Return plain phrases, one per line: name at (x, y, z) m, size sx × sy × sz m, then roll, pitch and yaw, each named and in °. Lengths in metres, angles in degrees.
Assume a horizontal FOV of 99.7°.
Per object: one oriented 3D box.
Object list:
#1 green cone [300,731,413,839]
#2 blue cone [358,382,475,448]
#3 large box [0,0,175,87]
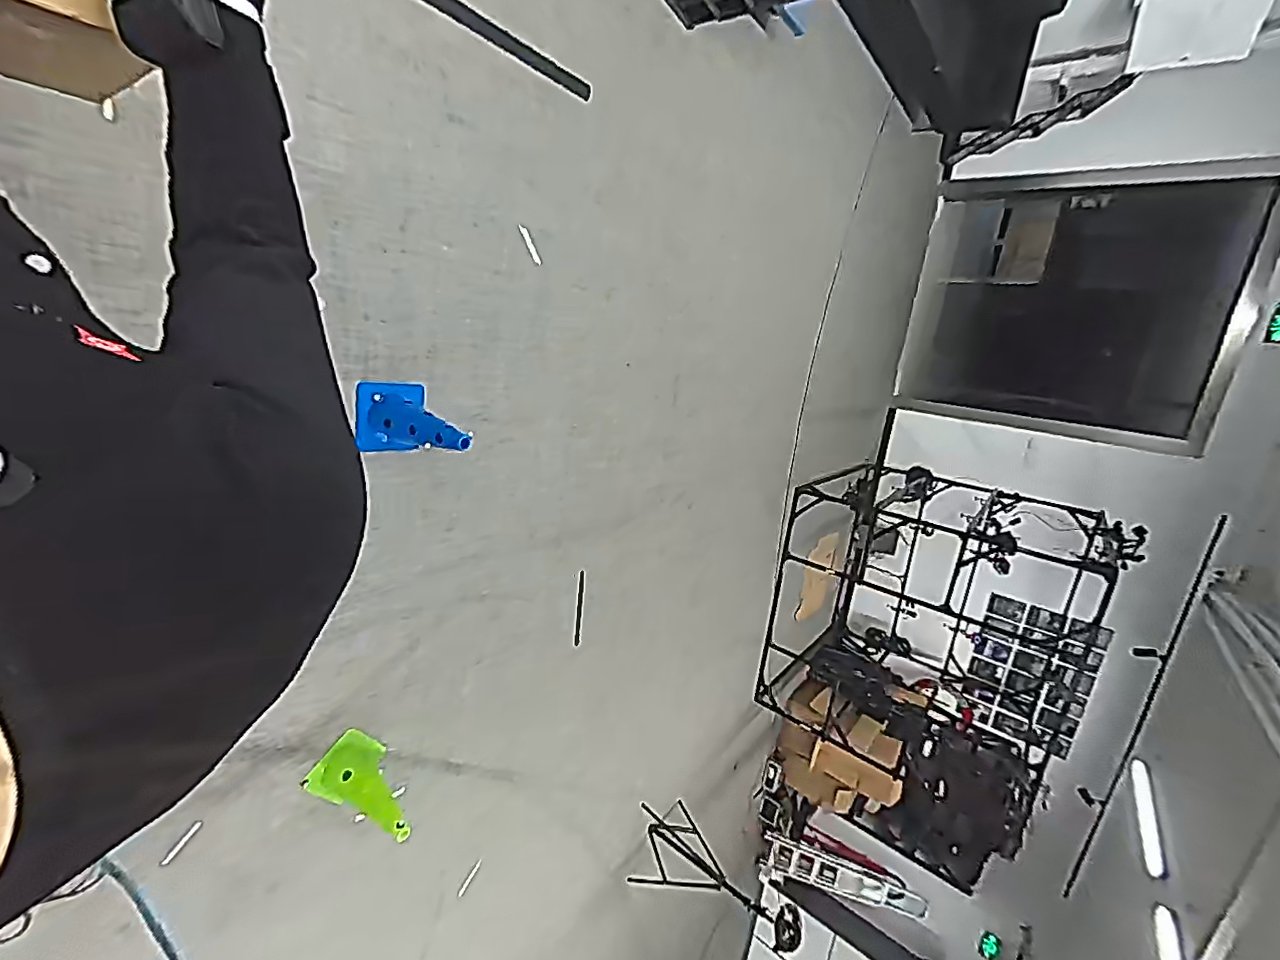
green cone at (-0.800, 0.954, 1.616) m, size 0.202 × 0.368 × 0.200 m, roll -52°, pitch 141°, yaw -29°
blue cone at (-0.586, -0.147, 1.465) m, size 0.192 × 0.380 × 0.193 m, roll -8°, pitch 111°, yaw -54°
large box at (-0.552, -0.475, 0.278) m, size 0.408 × 0.320 × 0.320 m, roll -12°, pitch 117°, yaw -50°
